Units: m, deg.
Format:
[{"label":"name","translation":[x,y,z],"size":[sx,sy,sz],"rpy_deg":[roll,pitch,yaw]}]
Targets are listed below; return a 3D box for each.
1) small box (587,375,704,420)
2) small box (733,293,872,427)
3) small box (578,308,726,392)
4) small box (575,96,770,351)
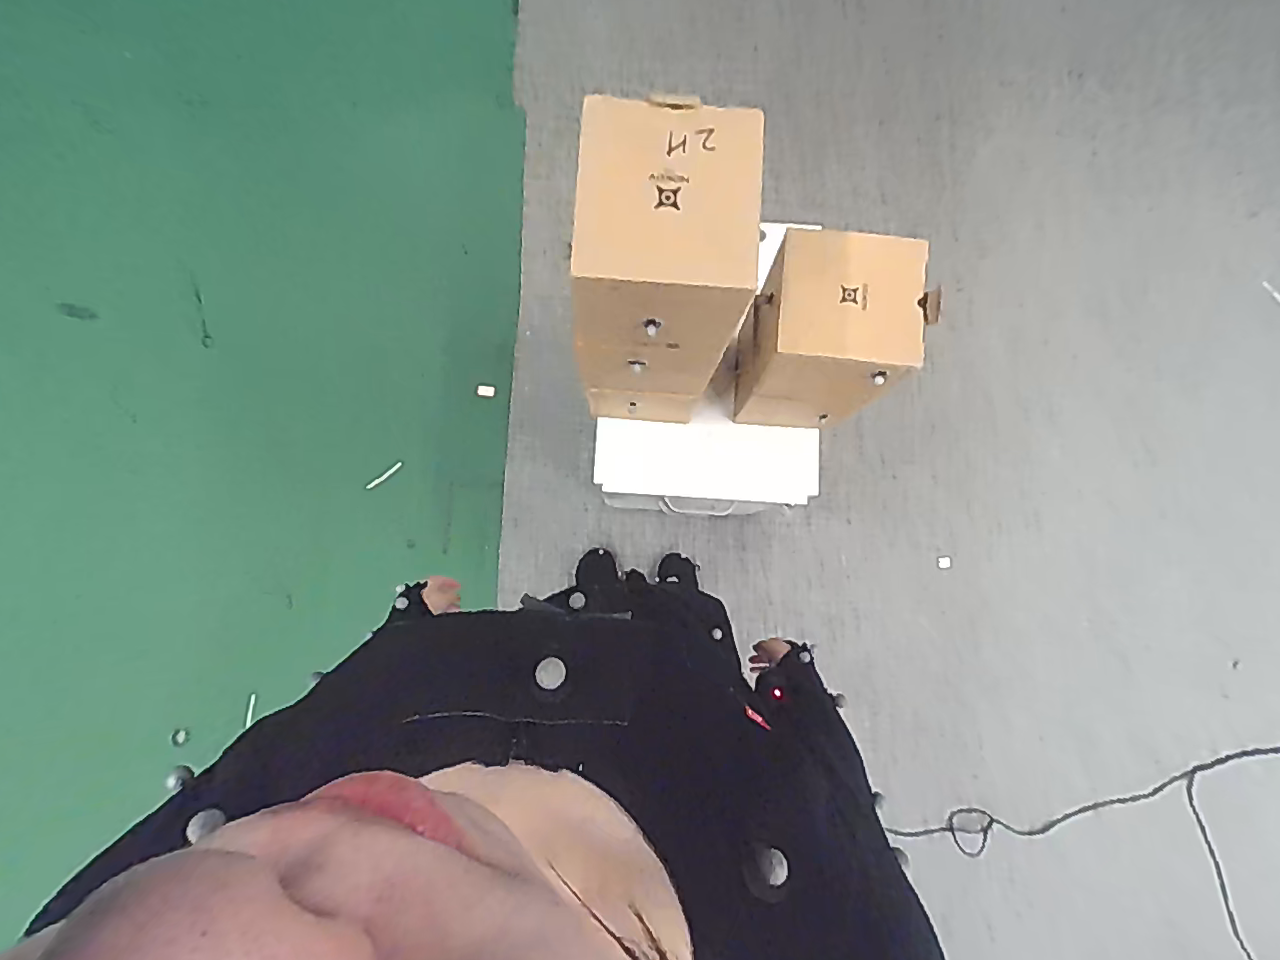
[{"label":"small box","translation":[0.012,-0.198,0.883],"size":[0.179,0.176,0.168],"rpy_deg":[4,84,-1]},{"label":"small box","translation":[0.258,-0.187,0.887],"size":[0.179,0.176,0.168],"rpy_deg":[4,83,1]},{"label":"small box","translation":[0.016,-0.221,0.720],"size":[0.179,0.176,0.168],"rpy_deg":[4,83,-3]},{"label":"small box","translation":[0.027,-0.245,0.557],"size":[0.168,0.176,0.179],"rpy_deg":[4,83,-3]}]
